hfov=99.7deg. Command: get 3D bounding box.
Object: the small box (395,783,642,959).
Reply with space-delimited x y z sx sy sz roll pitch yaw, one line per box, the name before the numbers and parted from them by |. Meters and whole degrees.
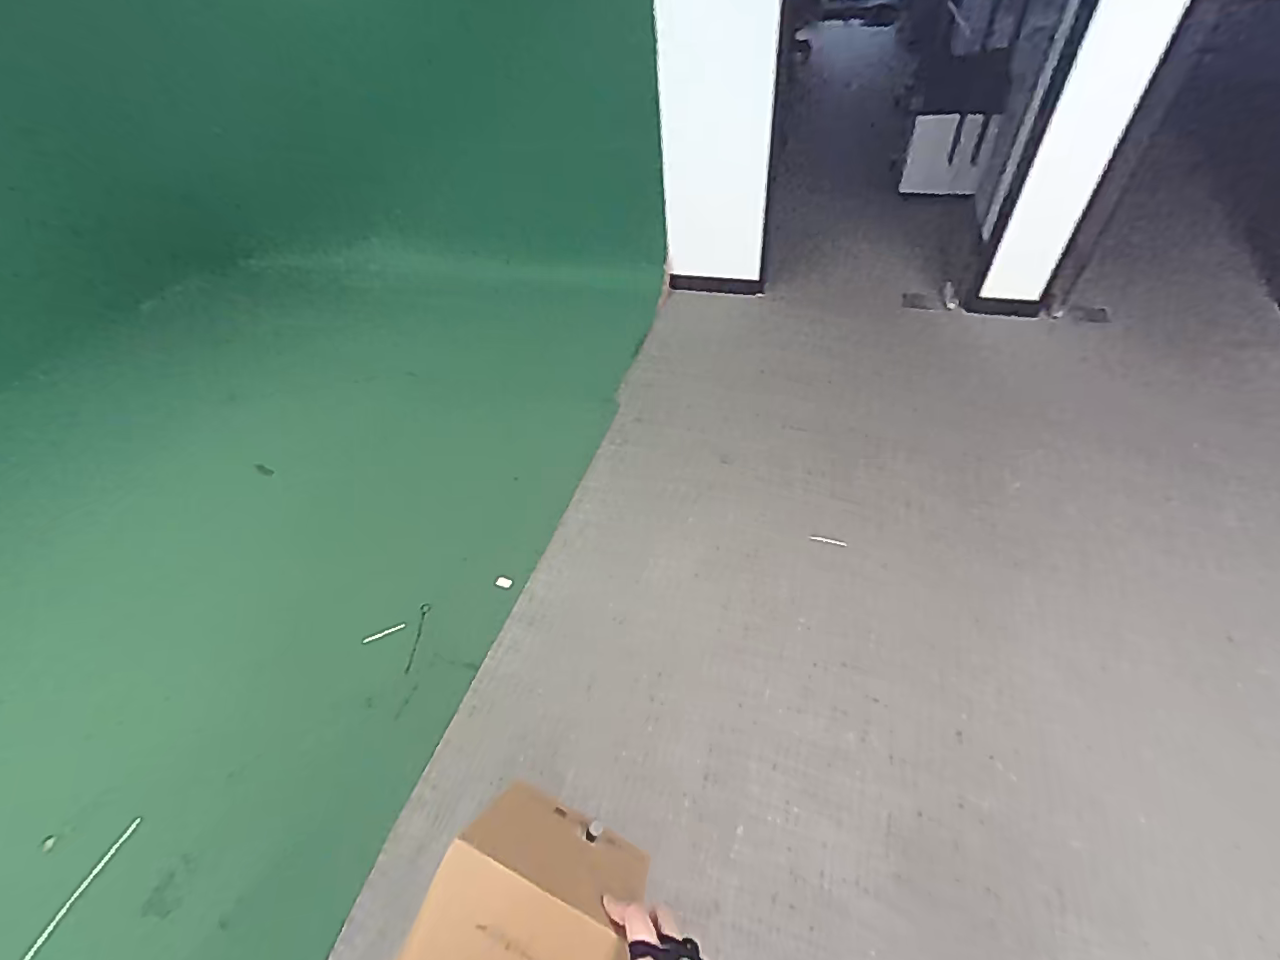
small box | -0.108 0.421 0.494 0.168 0.176 0.179 25 80 11
